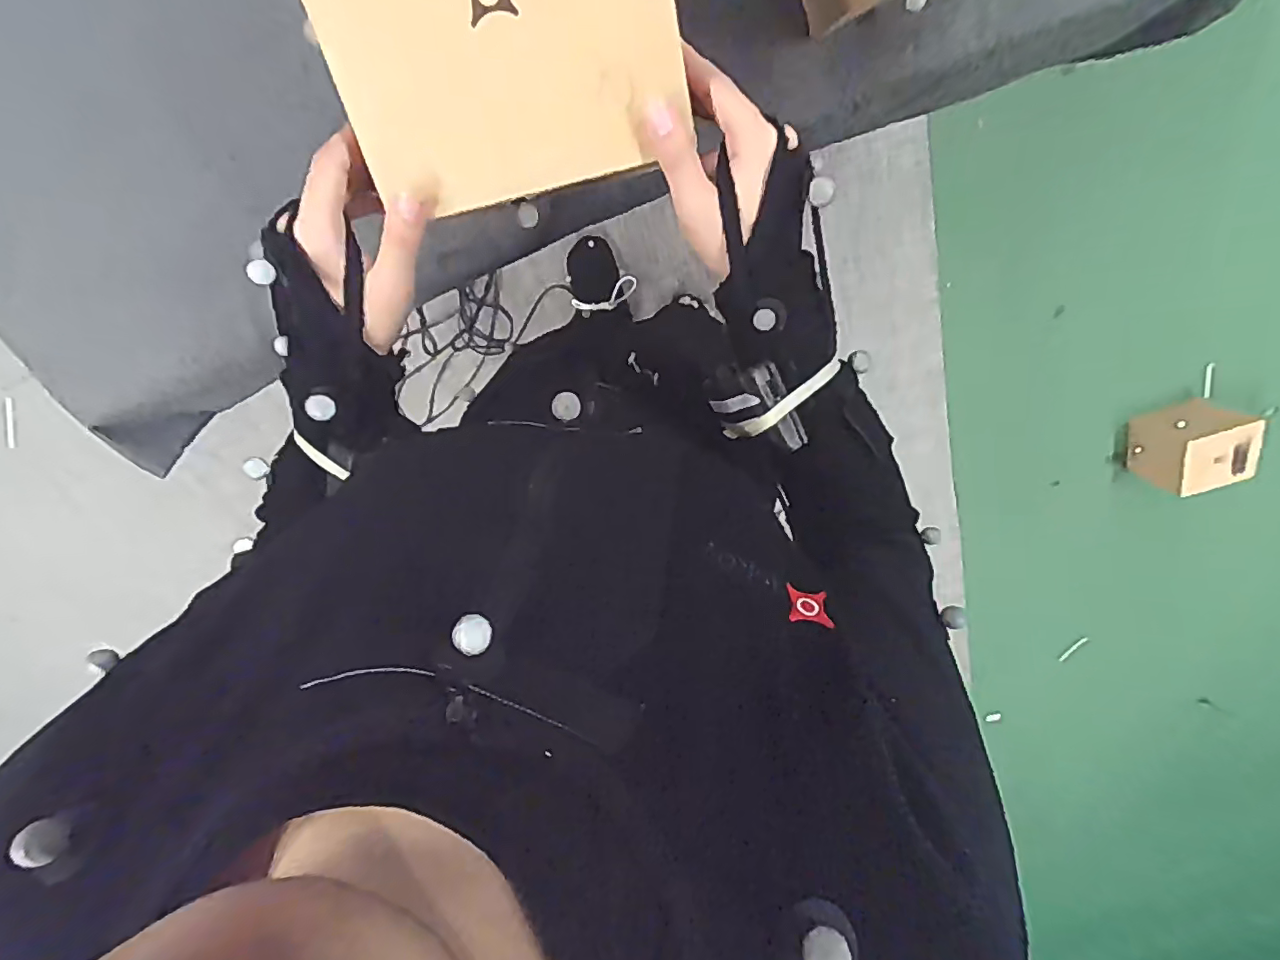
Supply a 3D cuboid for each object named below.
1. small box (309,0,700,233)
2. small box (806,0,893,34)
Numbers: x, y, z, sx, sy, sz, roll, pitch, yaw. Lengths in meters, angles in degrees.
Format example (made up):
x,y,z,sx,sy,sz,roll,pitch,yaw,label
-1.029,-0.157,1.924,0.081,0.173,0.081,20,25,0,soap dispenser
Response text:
x,y,z,sx,sy,sz,roll,pitch,yaw,label
-0.069,-0.258,0.311,0.168,0.176,0.179,-13,117,3,small box
0.186,-0.434,0.335,0.168,0.176,0.179,-24,116,11,small box
